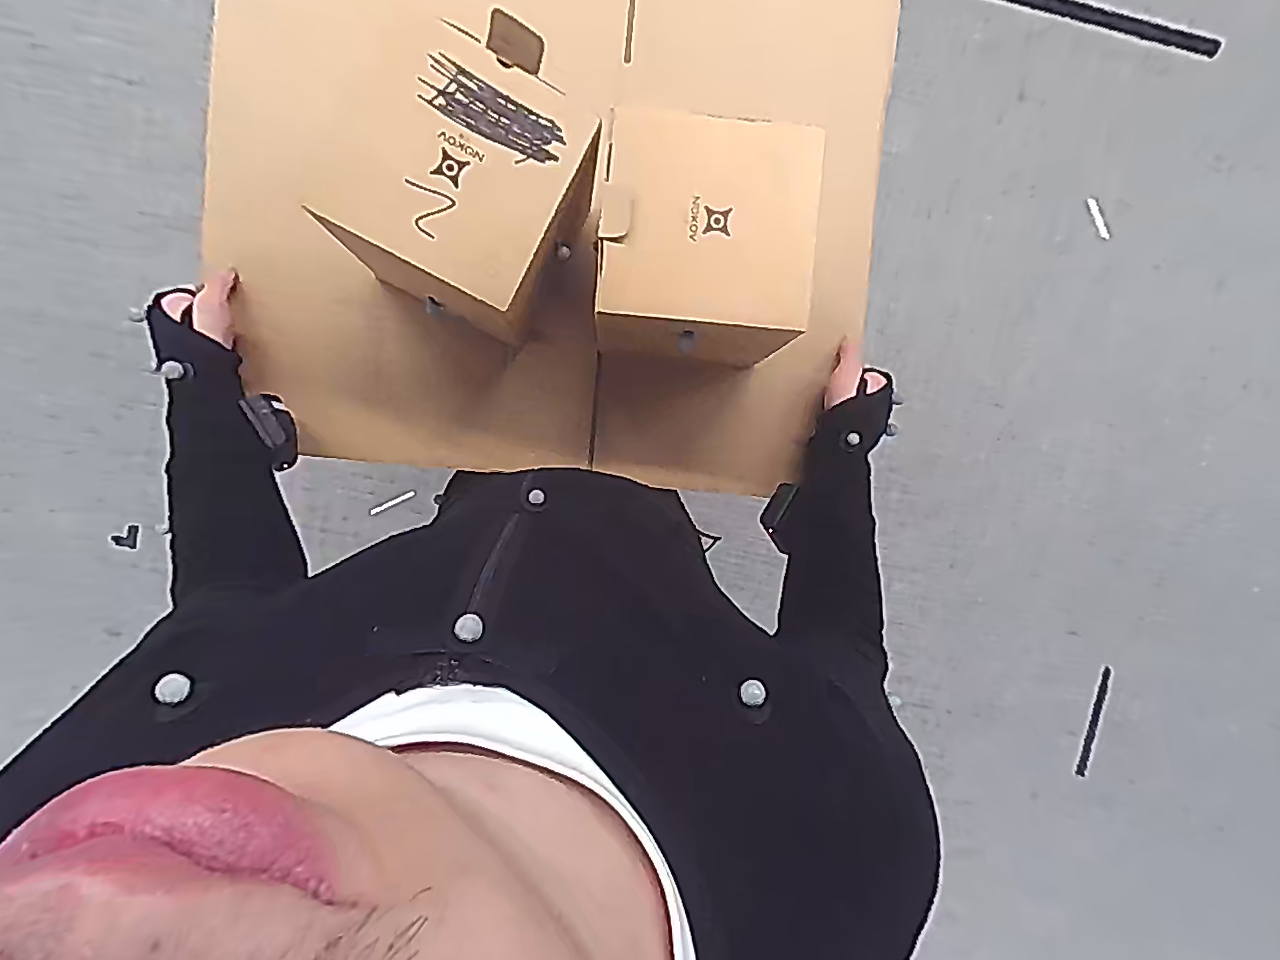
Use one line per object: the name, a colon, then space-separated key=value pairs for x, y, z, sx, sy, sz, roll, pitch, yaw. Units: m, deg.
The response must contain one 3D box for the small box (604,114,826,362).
small box: x=0.059 y=-0.216 z=0.530 sx=0.179 sy=0.176 sz=0.168 roll=5 pitch=92 yaw=-2
